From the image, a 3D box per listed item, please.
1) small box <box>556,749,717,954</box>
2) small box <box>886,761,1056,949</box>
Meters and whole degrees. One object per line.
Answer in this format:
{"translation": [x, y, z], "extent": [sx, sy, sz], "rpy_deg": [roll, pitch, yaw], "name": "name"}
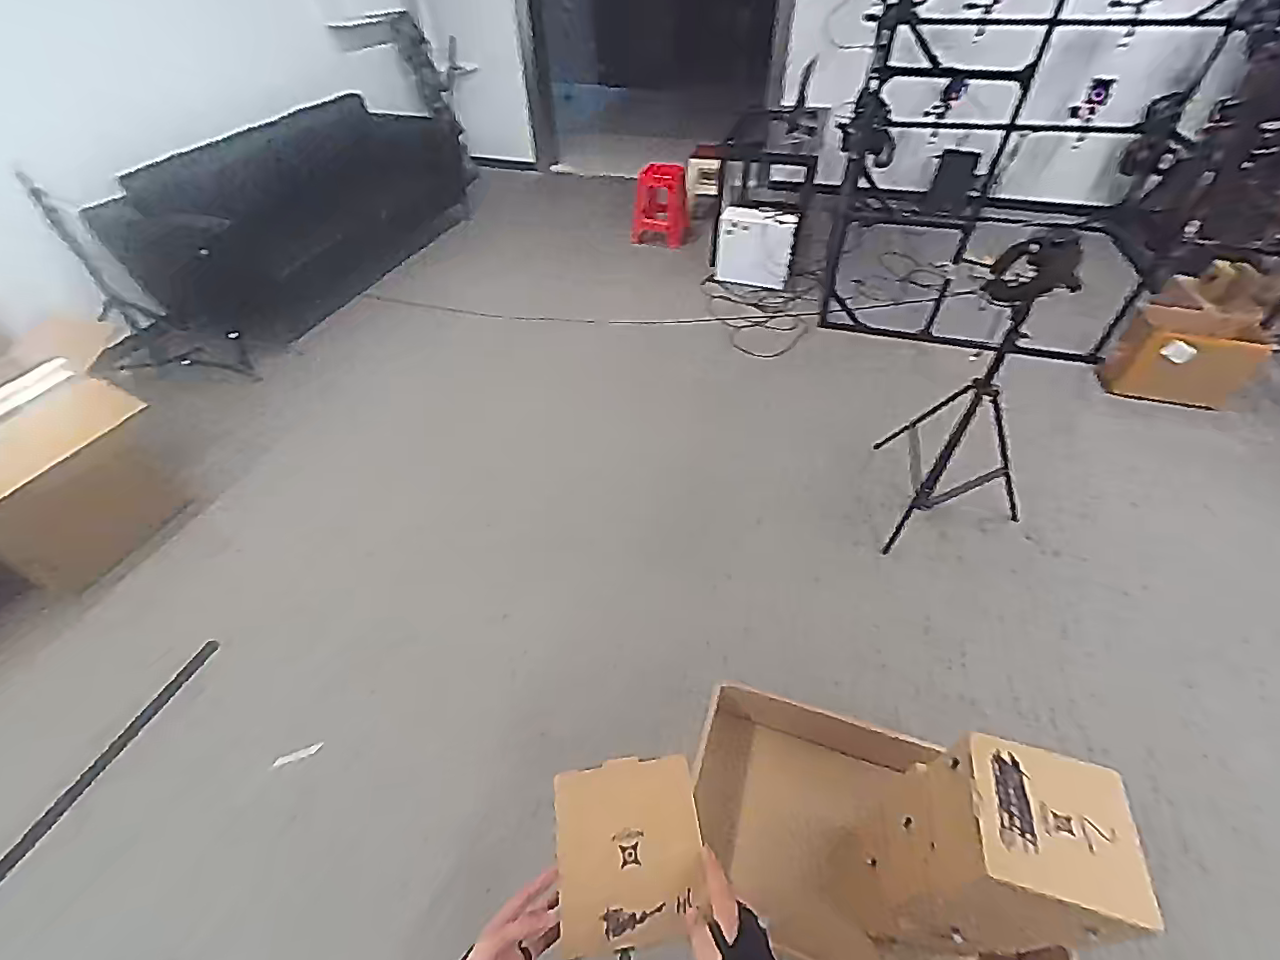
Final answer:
{"translation": [-0.013, 0.463, 0.674], "extent": [0.168, 0.176, 0.179], "rpy_deg": [-7, 50, -7], "name": "small box"}
{"translation": [0.480, 0.565, 0.816], "extent": [0.168, 0.176, 0.179], "rpy_deg": [11, 47, 14], "name": "small box"}
